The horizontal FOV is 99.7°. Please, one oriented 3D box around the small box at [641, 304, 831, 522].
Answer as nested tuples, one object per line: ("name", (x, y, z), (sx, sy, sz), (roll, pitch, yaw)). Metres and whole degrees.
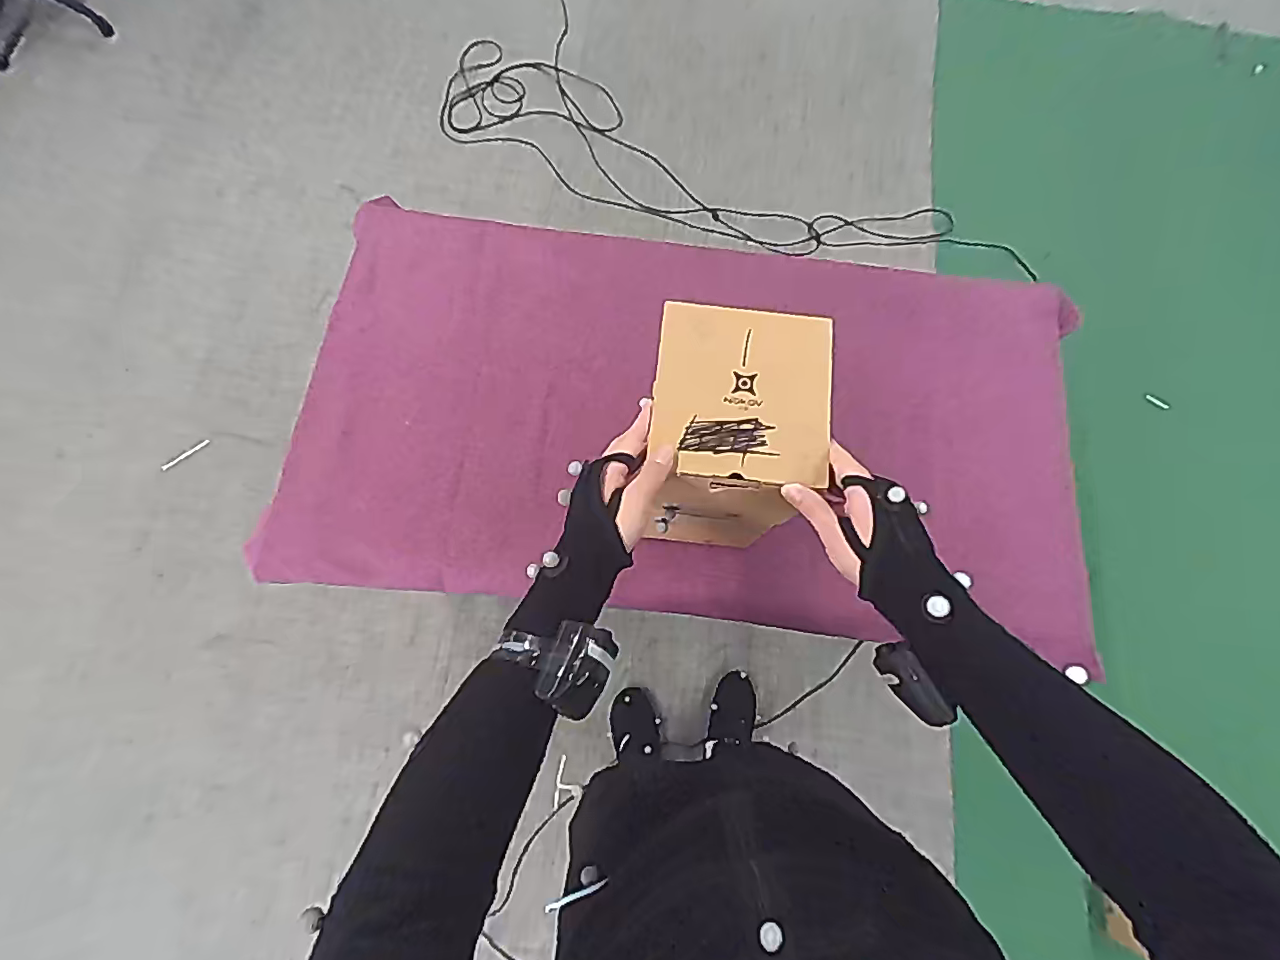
("small box", (0.093, -0.059, 0.579), (0.168, 0.176, 0.179), (7, 74, 1))
